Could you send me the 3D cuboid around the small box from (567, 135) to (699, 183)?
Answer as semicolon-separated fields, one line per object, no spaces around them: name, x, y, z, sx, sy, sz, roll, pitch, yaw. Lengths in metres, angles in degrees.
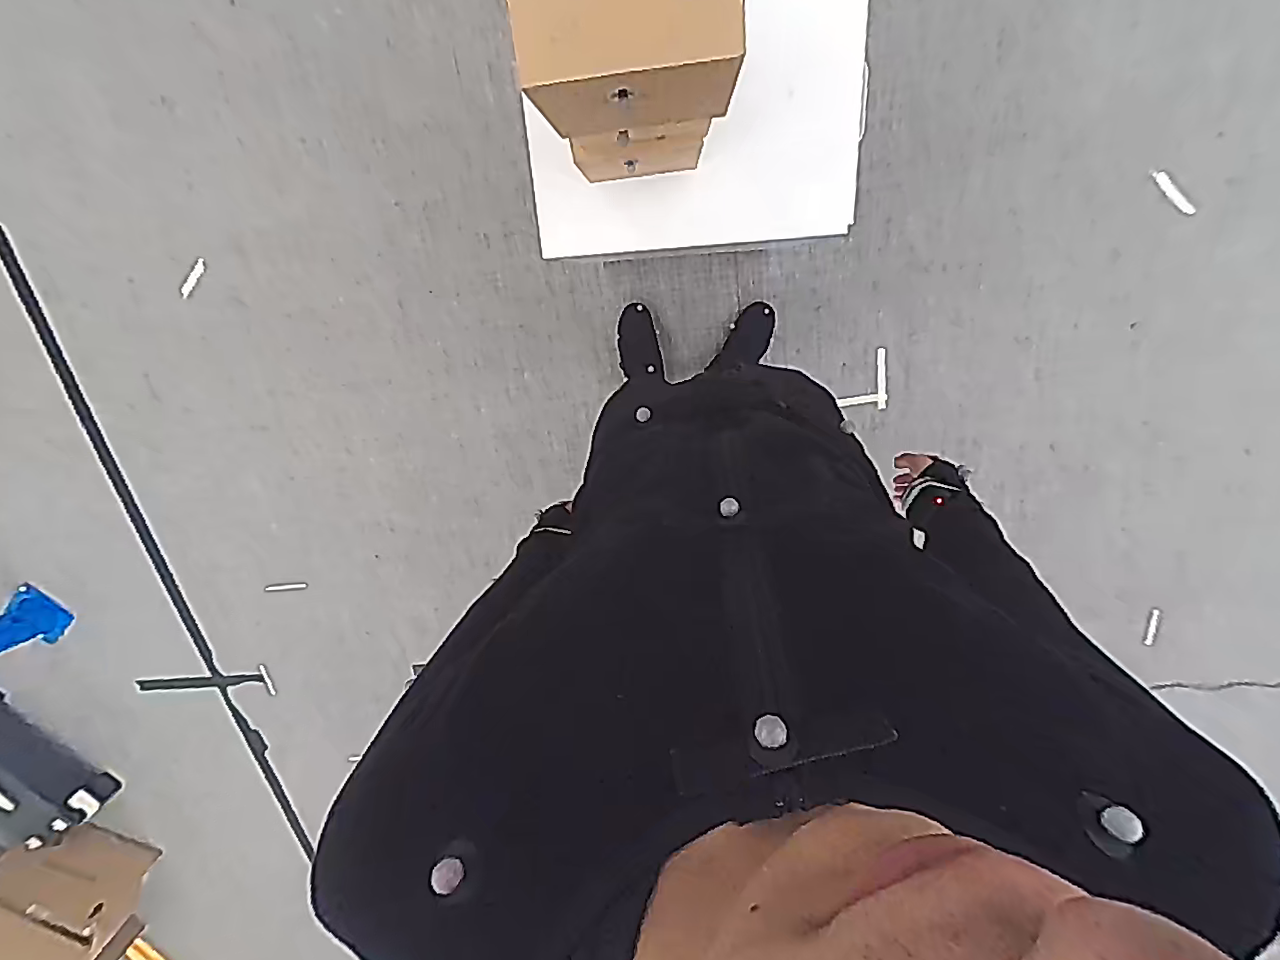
small box;-0.012;-0.532;0.765;0.179;0.176;0.168;-6;111;4

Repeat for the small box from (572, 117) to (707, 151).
small box;-0.009;-0.488;0.608;0.168;0.176;0.179;-5;110;4

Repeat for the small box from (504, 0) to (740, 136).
small box;-0.013;-0.413;0.460;0.179;0.176;0.168;-5;111;4
